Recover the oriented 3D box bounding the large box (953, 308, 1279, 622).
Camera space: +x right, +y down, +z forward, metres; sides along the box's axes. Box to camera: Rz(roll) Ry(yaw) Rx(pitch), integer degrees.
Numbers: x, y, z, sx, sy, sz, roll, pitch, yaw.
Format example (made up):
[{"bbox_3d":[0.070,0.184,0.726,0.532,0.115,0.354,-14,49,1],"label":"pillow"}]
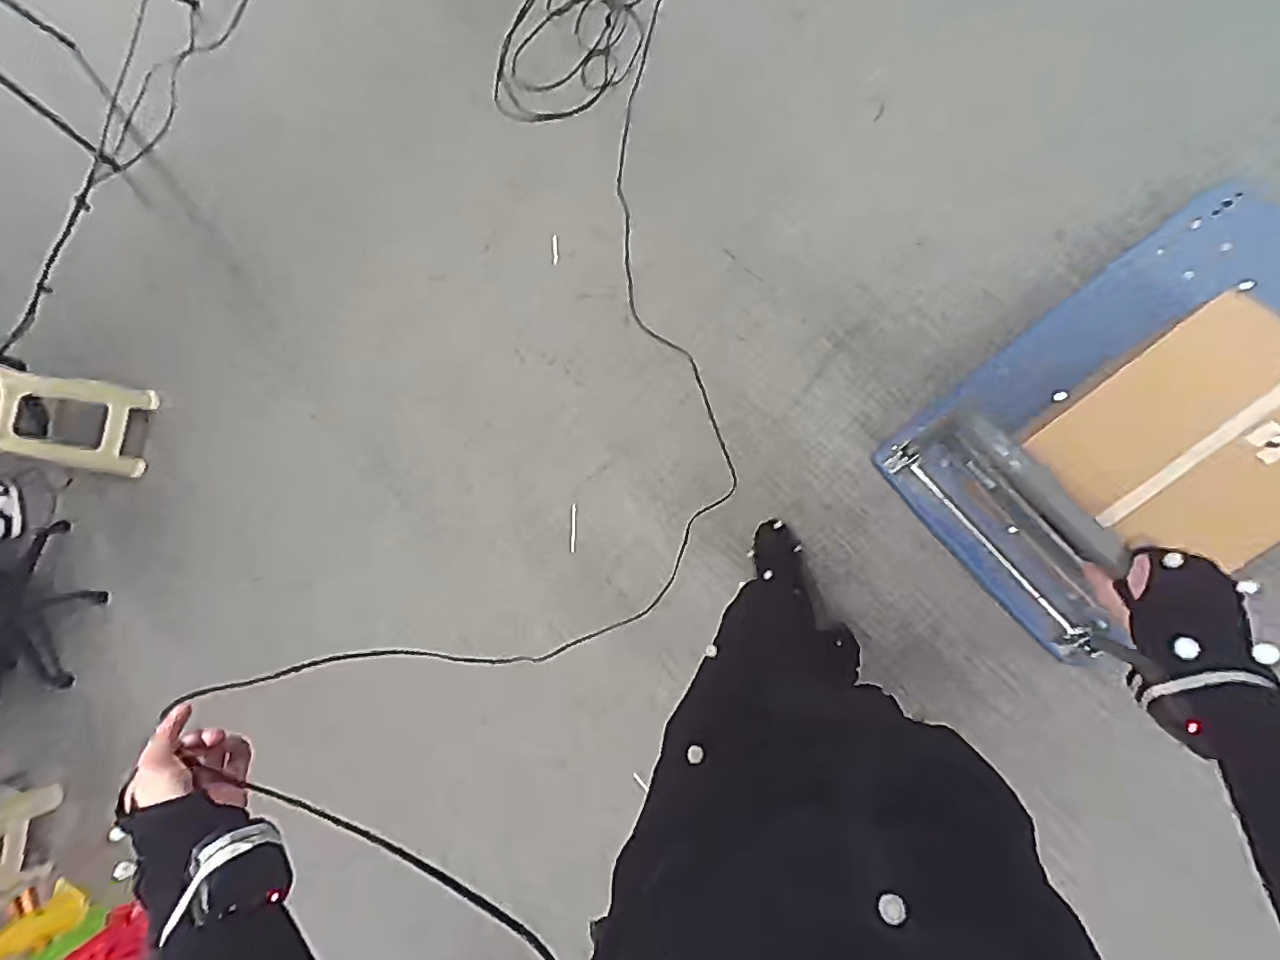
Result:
[{"bbox_3d":[0.865,-0.006,0.963,0.408,0.320,0.320,-41,74,9],"label":"large box"}]
